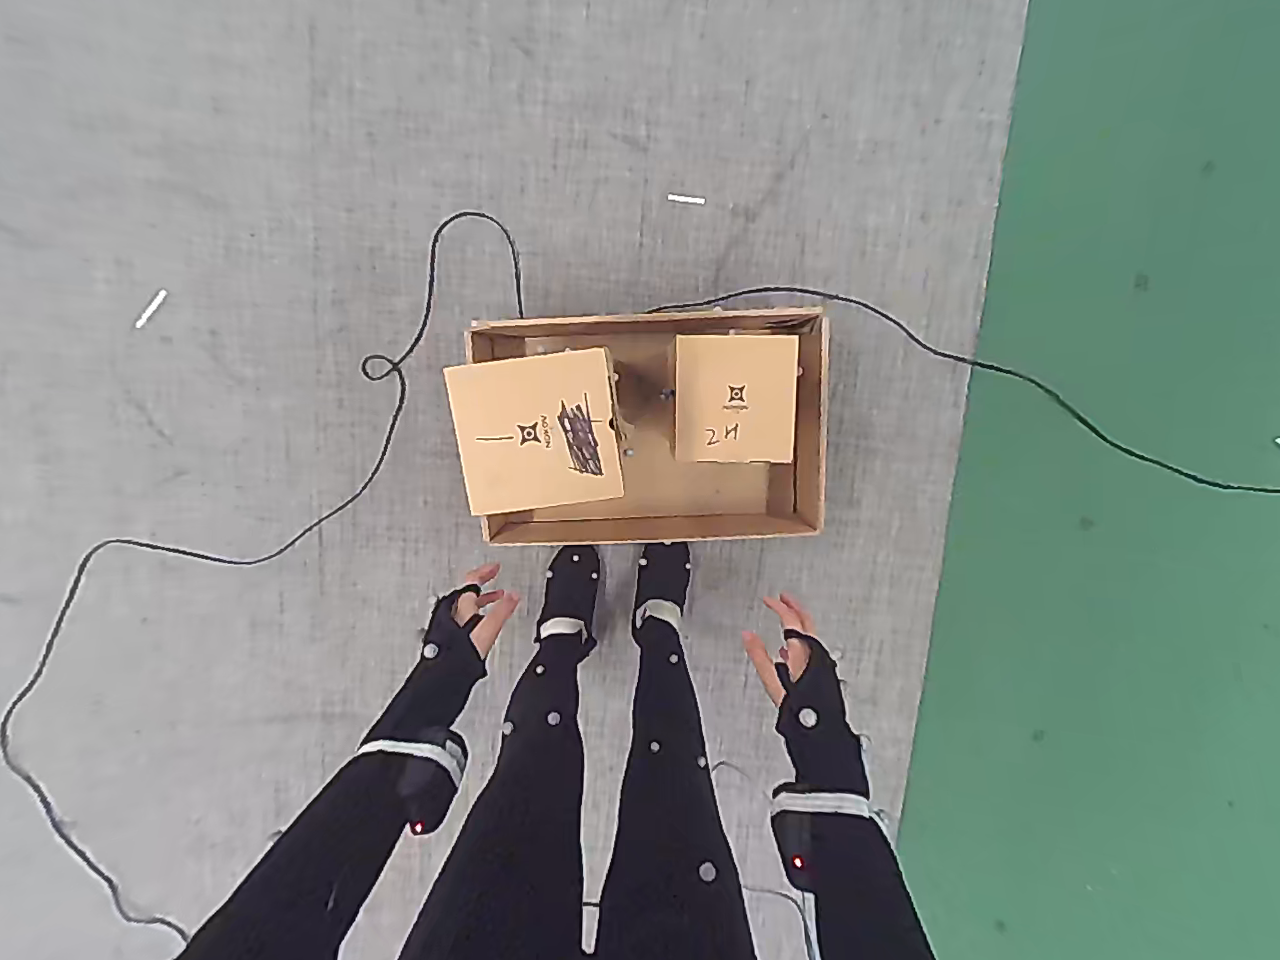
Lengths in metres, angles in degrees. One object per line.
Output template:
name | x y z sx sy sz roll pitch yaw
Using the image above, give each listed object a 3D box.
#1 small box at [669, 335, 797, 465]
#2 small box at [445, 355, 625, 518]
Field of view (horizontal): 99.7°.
small box | 0.129 -0.120 0.817 0.168 0.176 0.179 1 100 1
small box | -0.115 -0.061 0.666 0.179 0.176 0.168 -7 100 1
